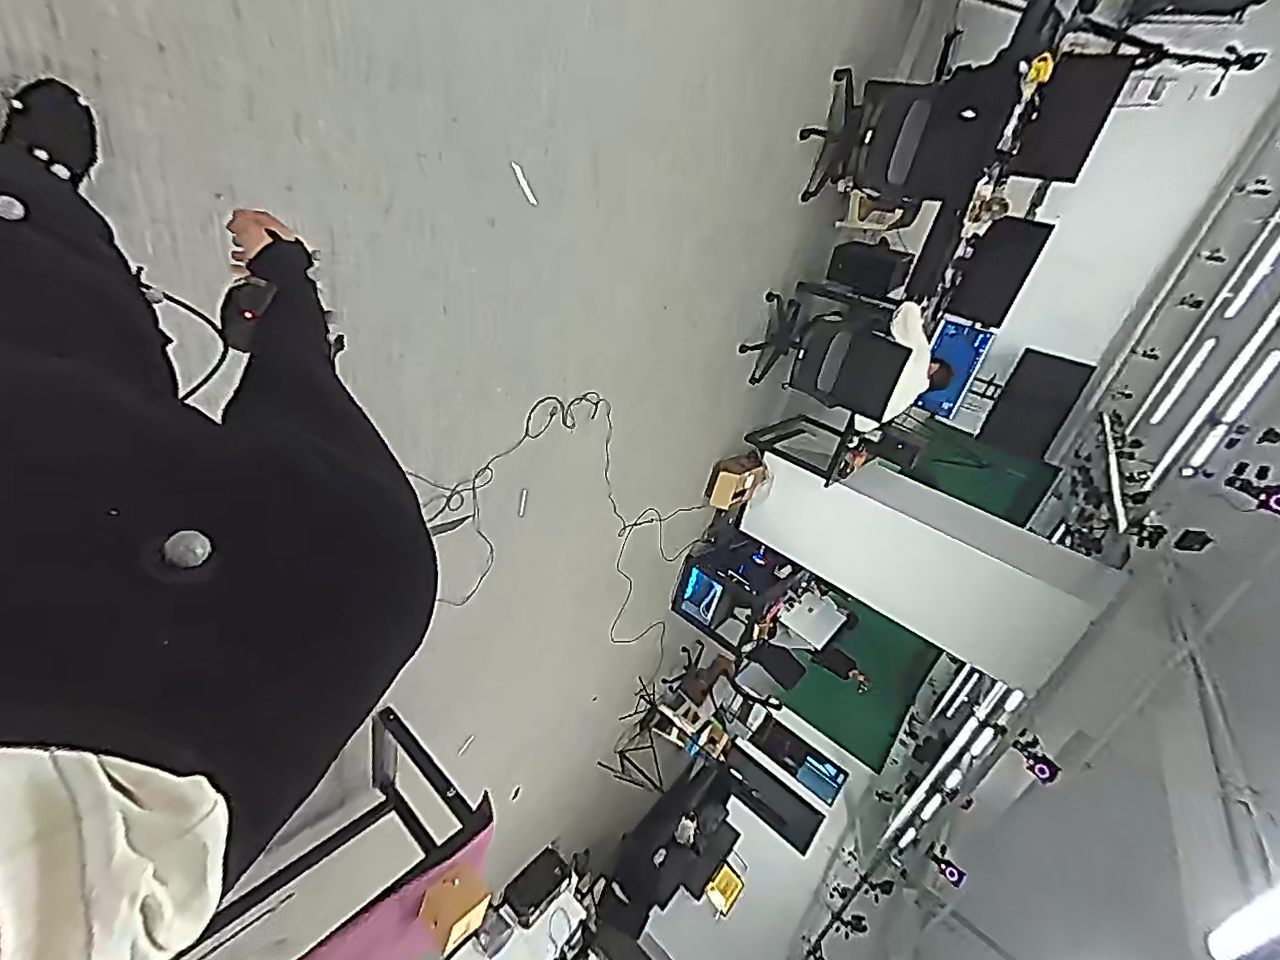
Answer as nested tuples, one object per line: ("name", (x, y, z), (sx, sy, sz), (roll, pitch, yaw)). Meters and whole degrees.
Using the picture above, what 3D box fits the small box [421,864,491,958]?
("small box", (-0.680, 1.570, 1.982), (0.168, 0.176, 0.179), (-8, 122, -54))
